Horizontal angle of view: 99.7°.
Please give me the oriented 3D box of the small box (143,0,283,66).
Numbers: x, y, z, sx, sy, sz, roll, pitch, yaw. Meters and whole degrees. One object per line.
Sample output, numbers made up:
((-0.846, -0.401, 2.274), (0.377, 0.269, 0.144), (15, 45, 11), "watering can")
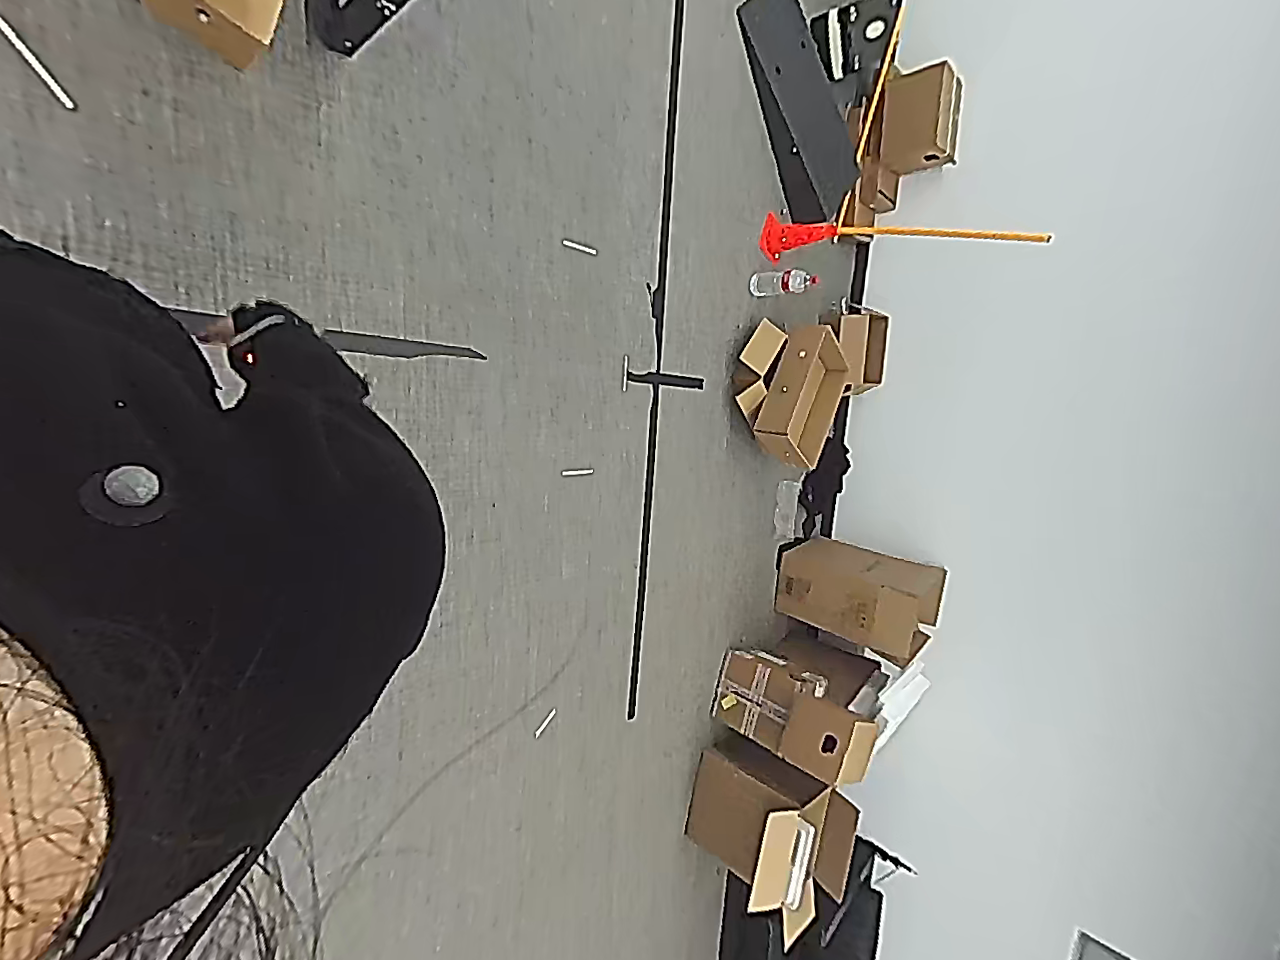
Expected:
((-0.819, -0.950, 1.046), (0.179, 0.176, 0.168), (19, 86, -48), "small box")
